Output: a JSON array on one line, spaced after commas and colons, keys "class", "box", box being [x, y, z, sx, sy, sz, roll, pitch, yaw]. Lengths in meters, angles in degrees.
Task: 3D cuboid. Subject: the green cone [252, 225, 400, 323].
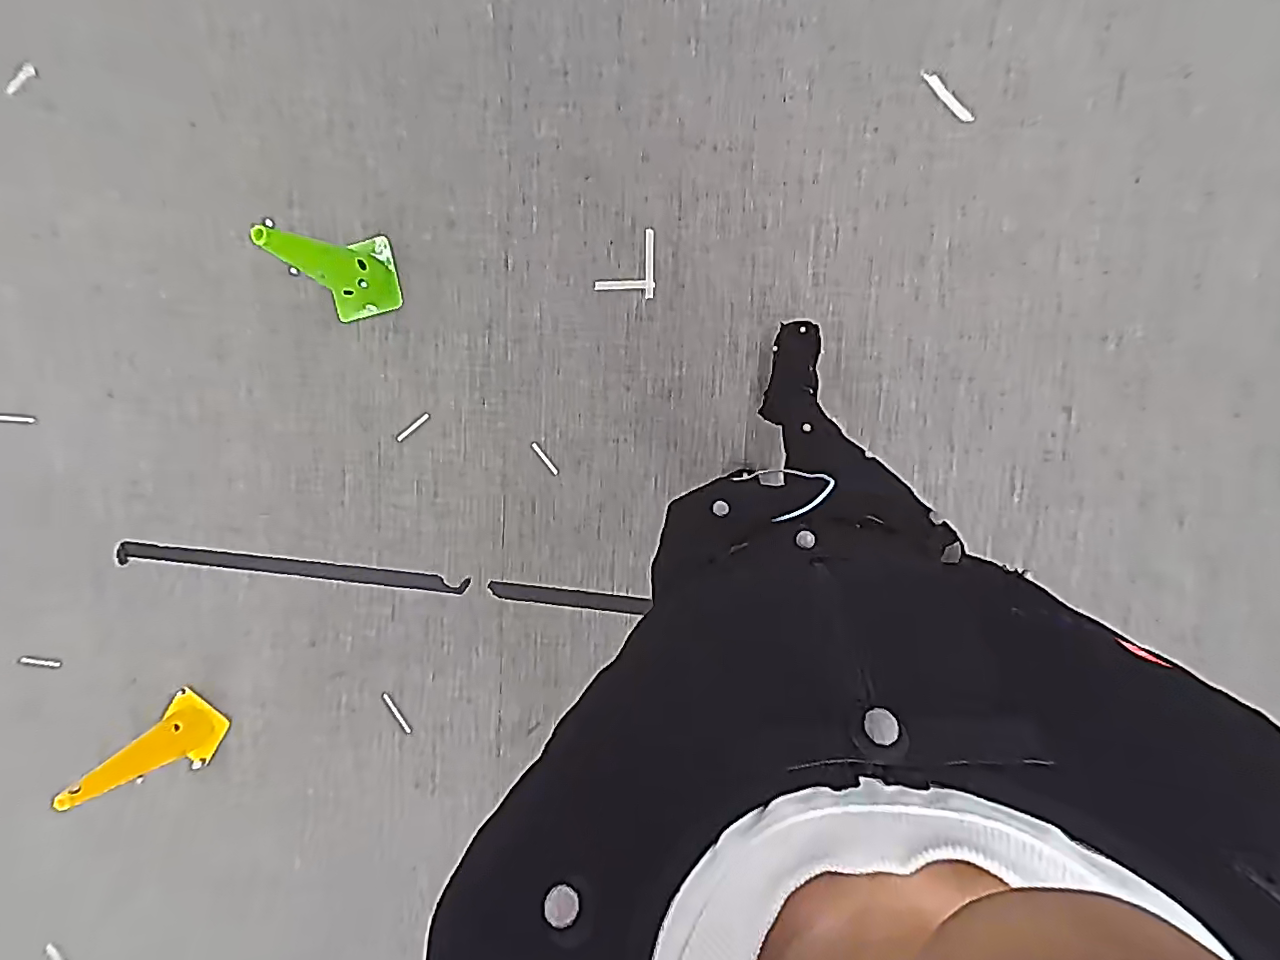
[{"class": "green cone", "box": [-0.797, -0.537, 1.336, 0.202, 0.368, 0.200, -12, 94, 8]}]
